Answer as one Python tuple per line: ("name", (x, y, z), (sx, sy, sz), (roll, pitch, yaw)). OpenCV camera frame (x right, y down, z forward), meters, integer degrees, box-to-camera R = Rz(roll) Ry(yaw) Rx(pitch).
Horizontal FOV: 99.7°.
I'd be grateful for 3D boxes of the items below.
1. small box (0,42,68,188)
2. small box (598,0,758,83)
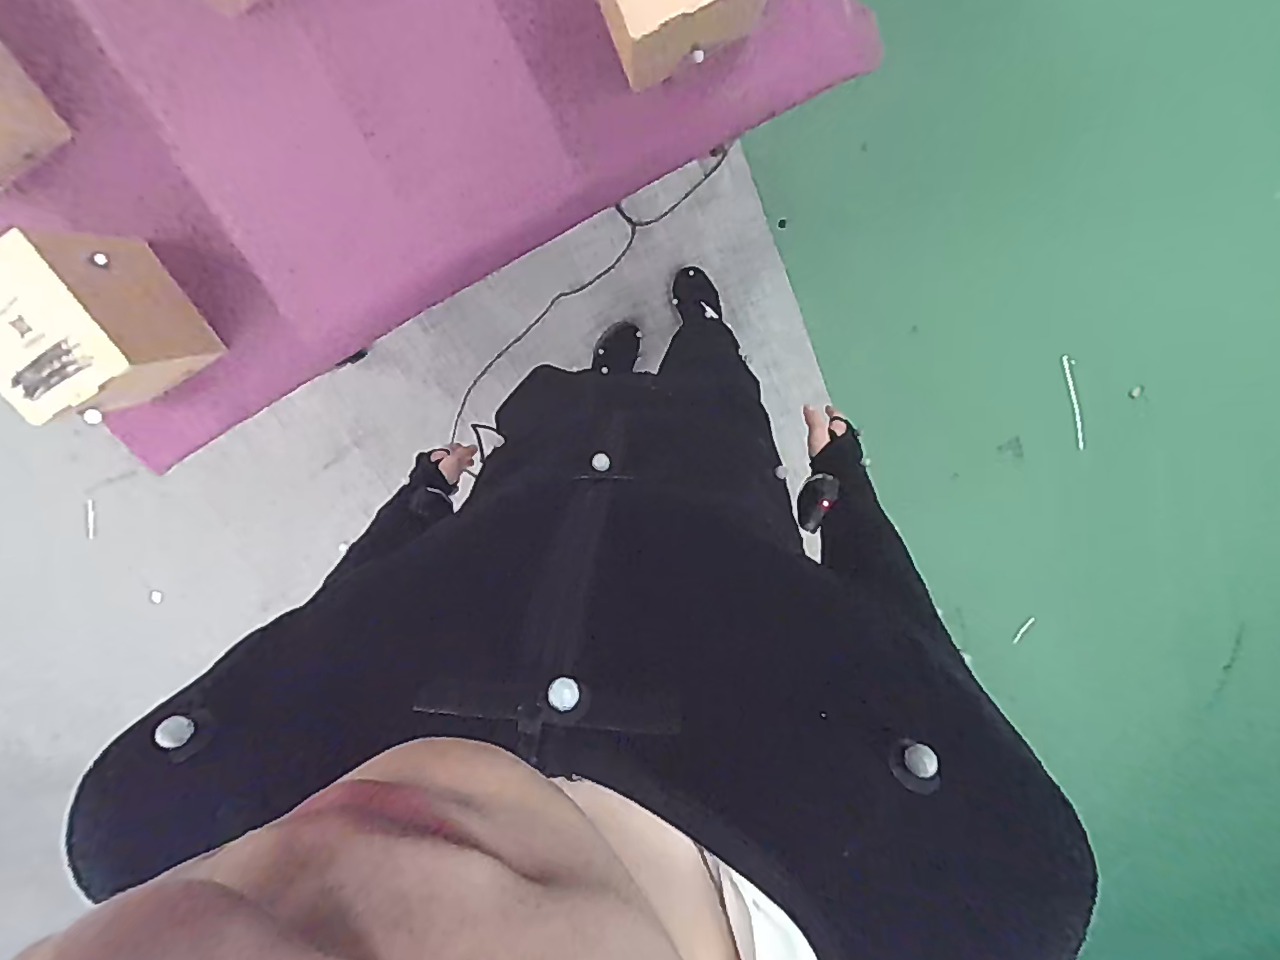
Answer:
("small box", (-0.846, -0.452, 0.618), (0.168, 0.176, 0.179), (-28, 109, 9))
("small box", (0.027, -0.581, 0.582), (0.168, 0.176, 0.179), (-23, 109, 9))
